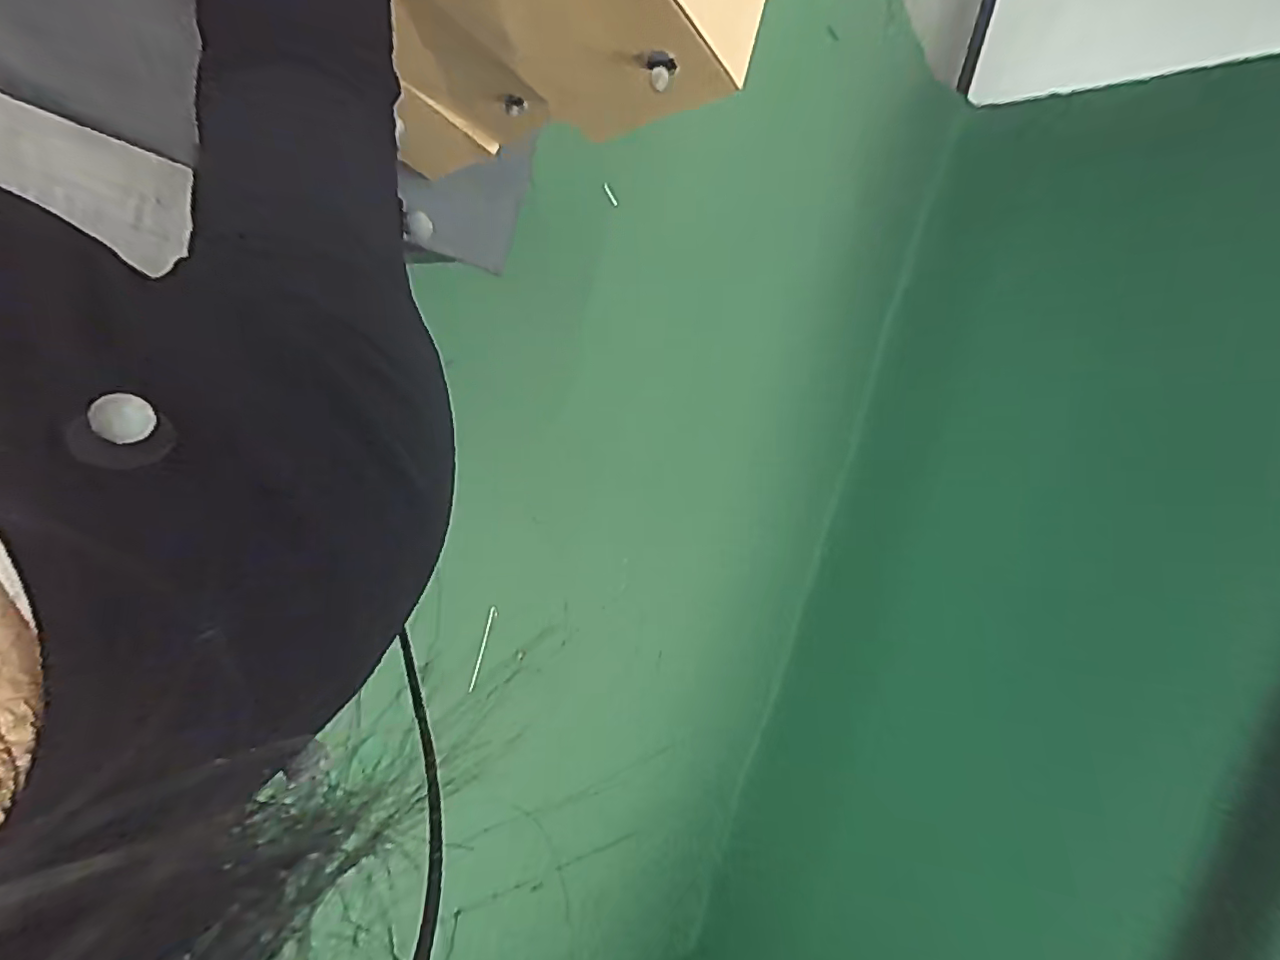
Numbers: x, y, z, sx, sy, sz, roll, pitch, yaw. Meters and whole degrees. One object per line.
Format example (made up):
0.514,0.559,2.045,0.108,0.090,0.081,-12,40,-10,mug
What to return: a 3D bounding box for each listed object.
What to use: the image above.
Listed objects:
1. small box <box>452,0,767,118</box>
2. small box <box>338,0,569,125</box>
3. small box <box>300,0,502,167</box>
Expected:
-0.017,-0.391,0.375,0.179,0.176,0.168,15,91,-47,small box
-0.136,-0.449,0.476,0.179,0.176,0.168,7,96,-46,small box
-0.243,-0.484,0.593,0.168,0.176,0.179,19,90,-47,small box
